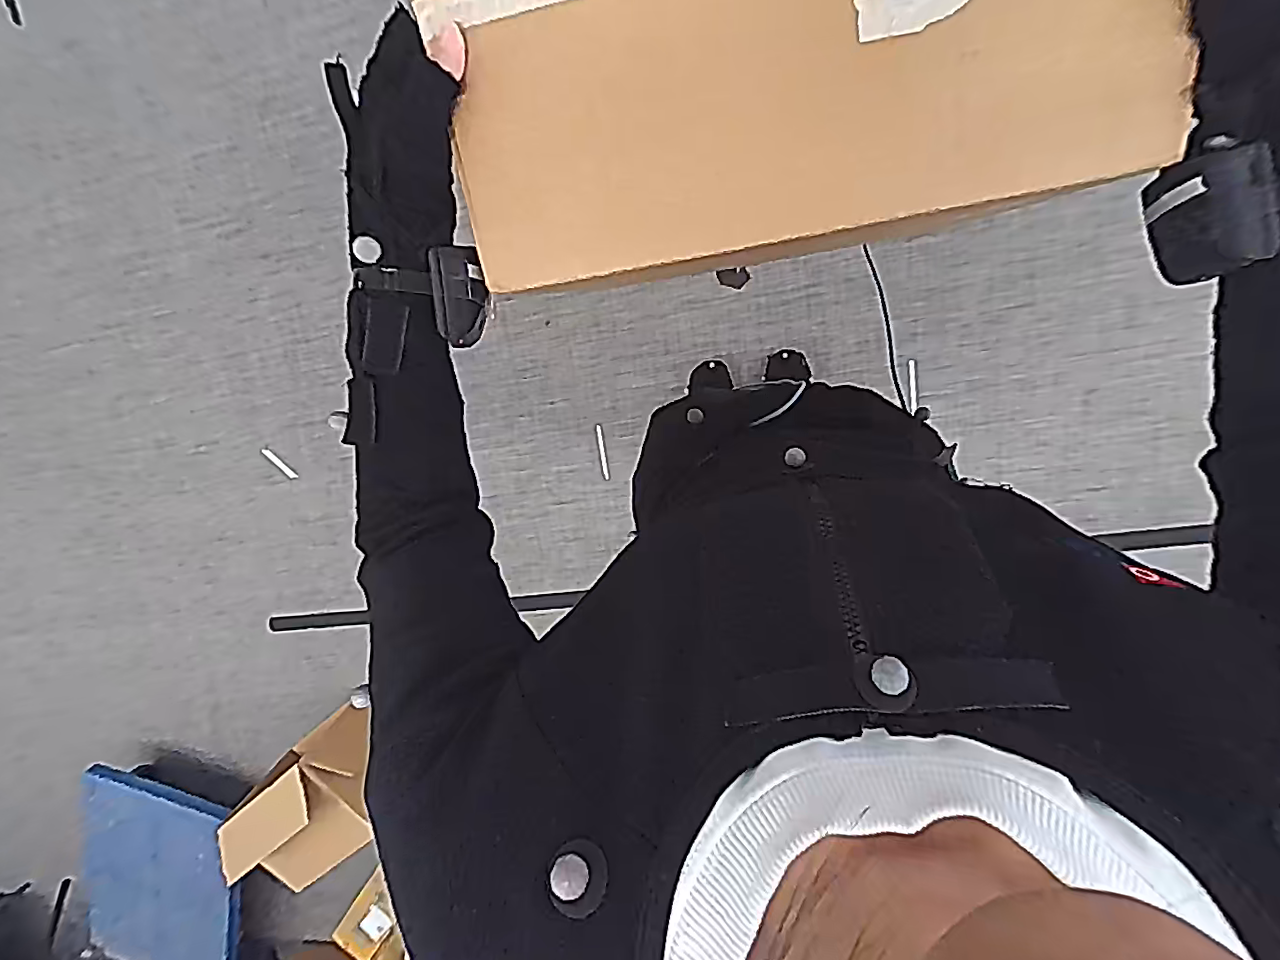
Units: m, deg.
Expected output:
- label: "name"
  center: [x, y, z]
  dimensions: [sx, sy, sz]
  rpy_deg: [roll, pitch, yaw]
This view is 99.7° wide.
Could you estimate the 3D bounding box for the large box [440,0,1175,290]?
- label: "large box"
  center: [0.090, -0.351, 0.435]
  dimensions: [0.408, 0.320, 0.320]
  rpy_deg: [-7, 109, 10]
